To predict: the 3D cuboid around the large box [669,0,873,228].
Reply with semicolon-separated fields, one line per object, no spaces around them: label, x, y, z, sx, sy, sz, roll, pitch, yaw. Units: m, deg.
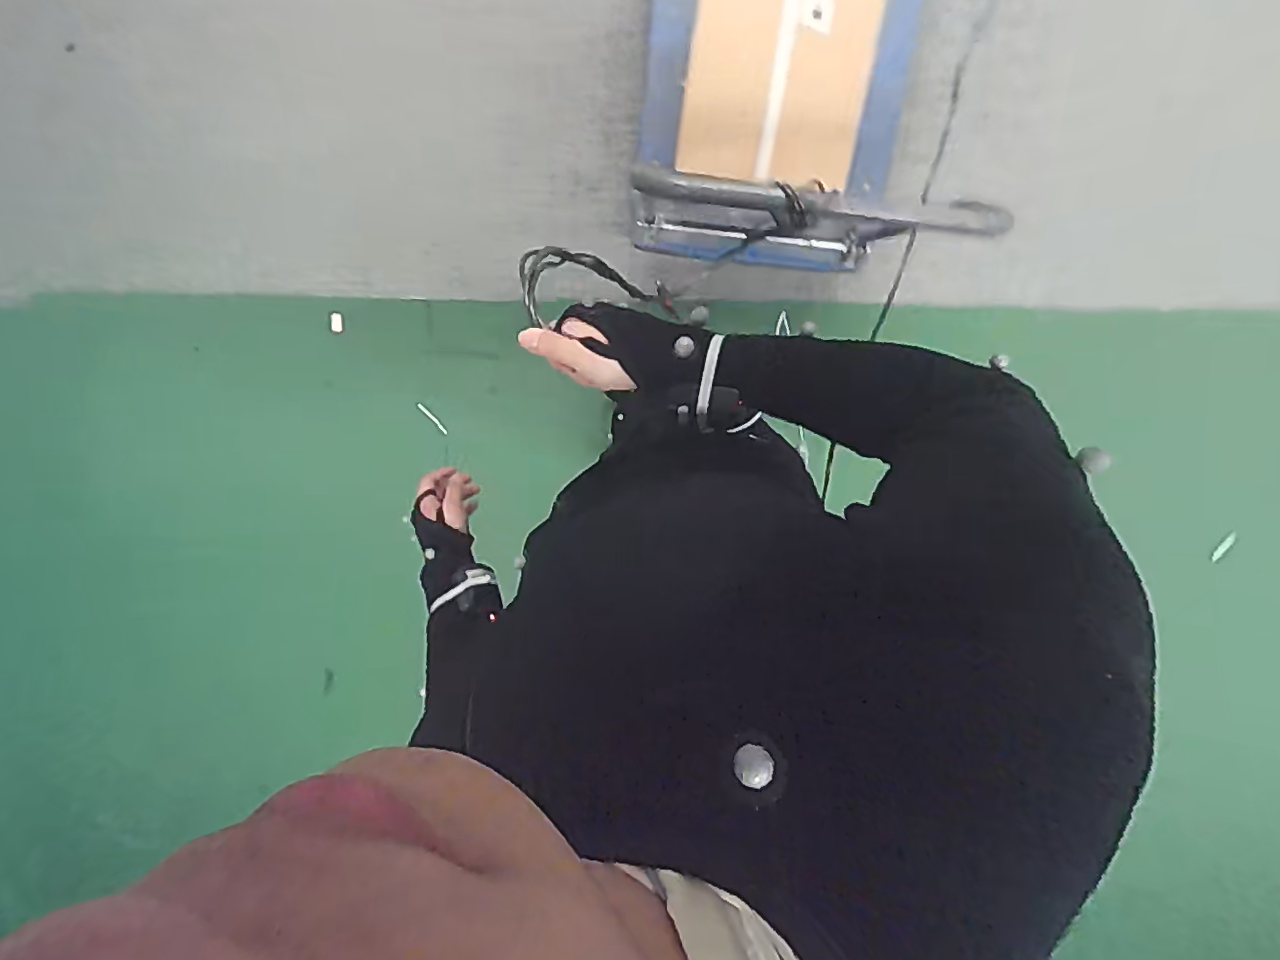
large box;0.236;-0.764;1.087;0.320;0.320;0.408;8;105;0
